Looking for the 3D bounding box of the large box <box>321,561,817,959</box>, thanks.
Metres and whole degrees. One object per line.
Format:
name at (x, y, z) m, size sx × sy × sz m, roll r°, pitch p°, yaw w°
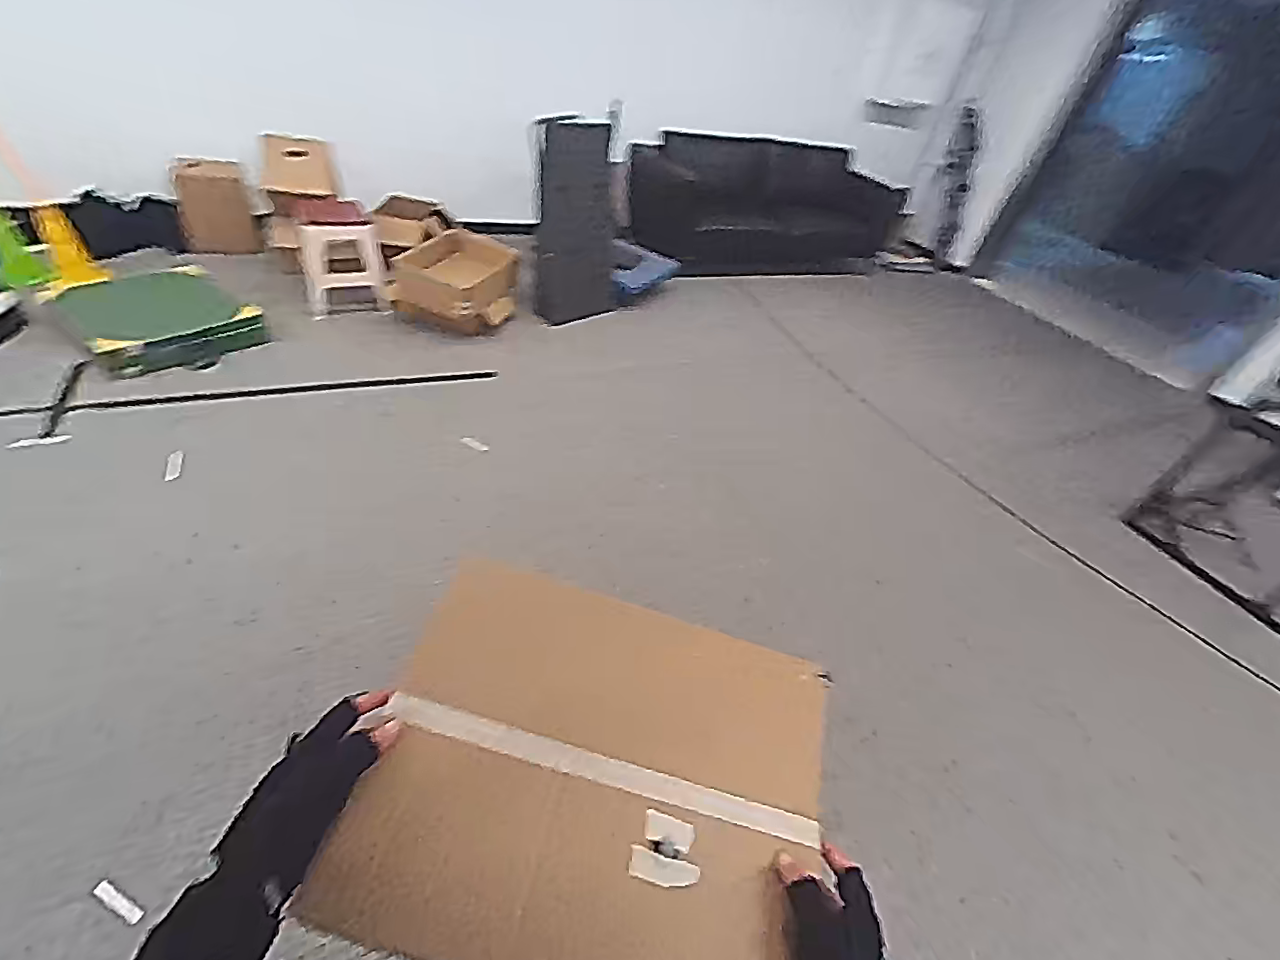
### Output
large box at (-0.059, 0.344, 0.633) m, size 0.408 × 0.320 × 0.320 m, roll 19°, pitch 57°, yaw -2°
